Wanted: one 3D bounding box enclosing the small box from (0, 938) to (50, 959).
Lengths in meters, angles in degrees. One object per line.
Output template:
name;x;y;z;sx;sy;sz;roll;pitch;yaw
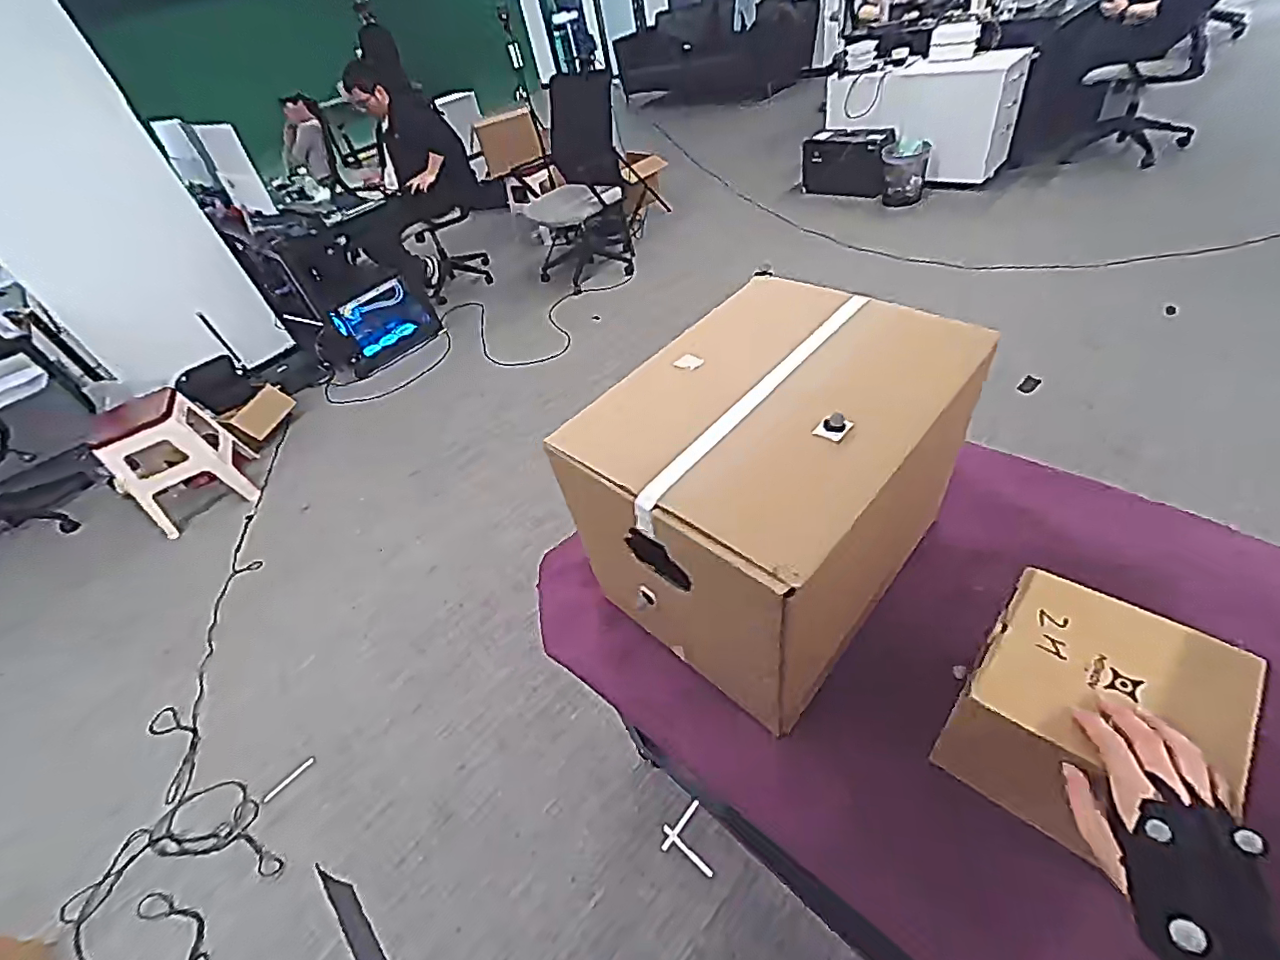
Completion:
small box;-1.407;1.117;1.141;0.179;0.176;0.168;25;57;33
